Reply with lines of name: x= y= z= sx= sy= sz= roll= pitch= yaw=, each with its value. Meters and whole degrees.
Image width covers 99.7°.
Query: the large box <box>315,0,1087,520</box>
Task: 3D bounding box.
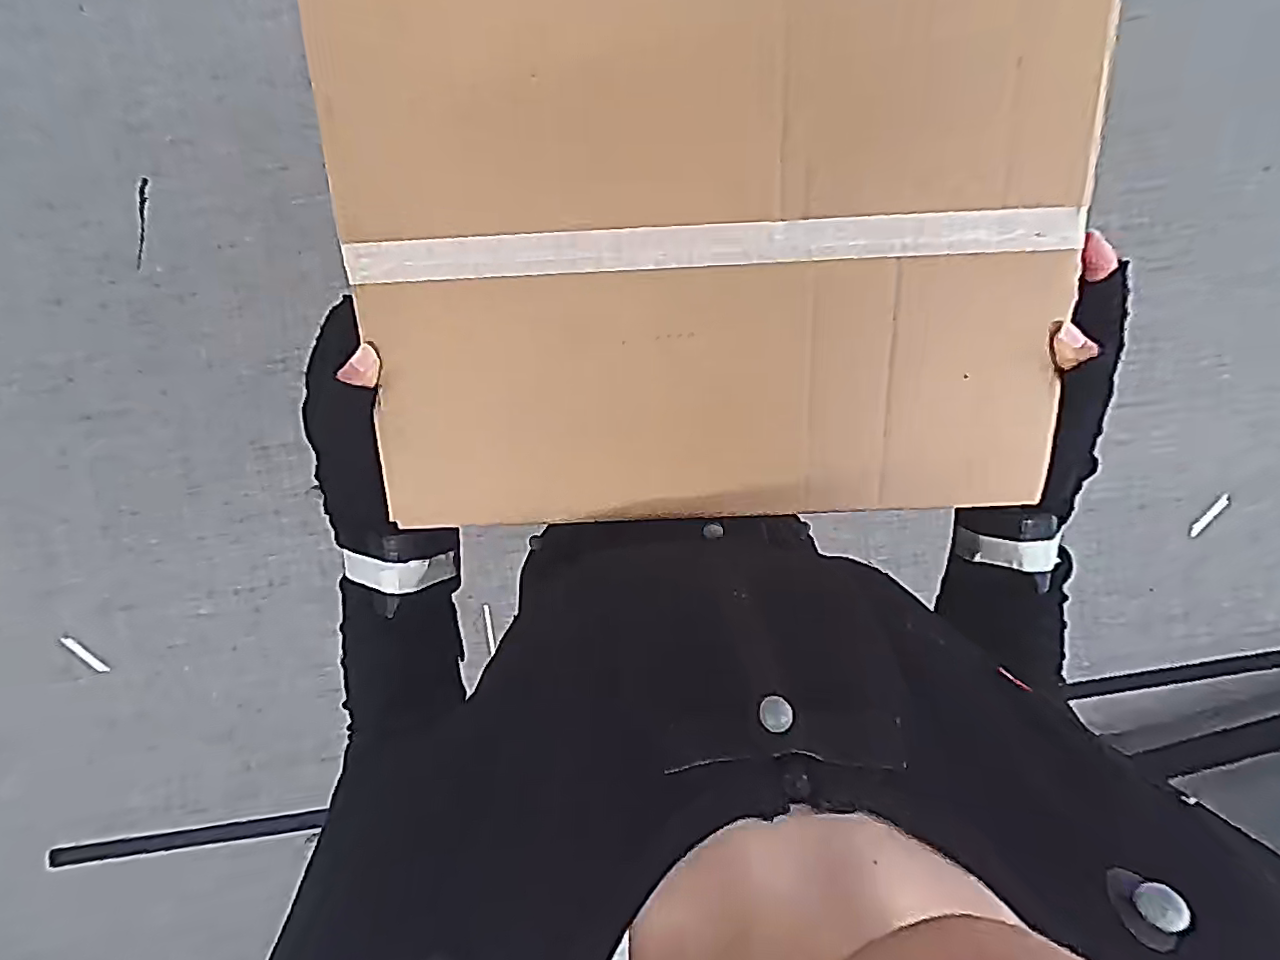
large box: x=0.035 y=-0.171 z=0.452 sx=0.408 sy=0.320 sz=0.320 roll=-3 pitch=106 yaw=0
